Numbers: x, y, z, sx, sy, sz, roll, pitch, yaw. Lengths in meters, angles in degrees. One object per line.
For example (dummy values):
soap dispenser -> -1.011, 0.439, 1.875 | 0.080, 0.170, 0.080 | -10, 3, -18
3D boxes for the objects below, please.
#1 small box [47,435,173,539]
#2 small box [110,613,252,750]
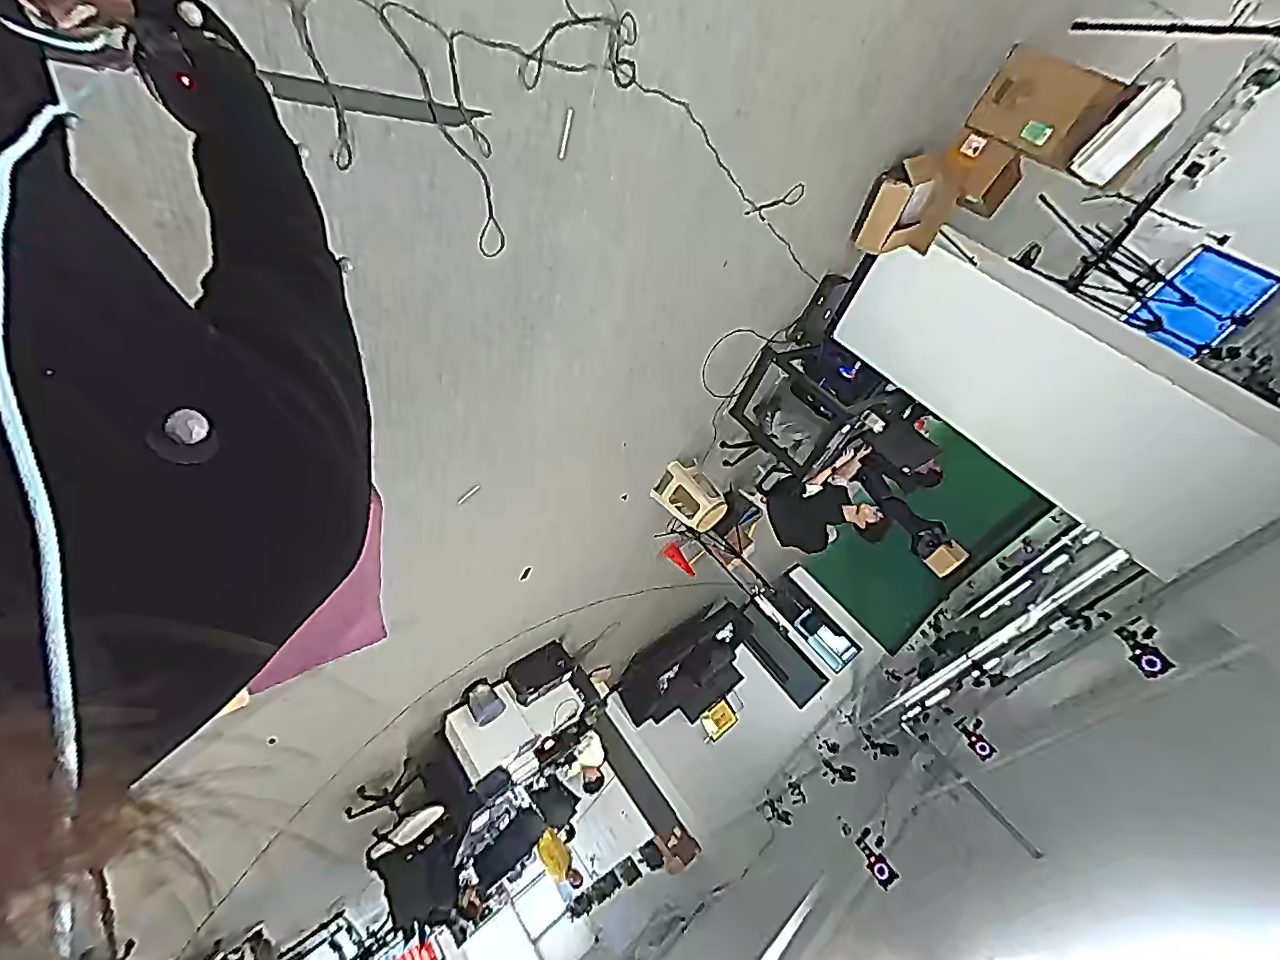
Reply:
small box -> -1.316, 0.011, 1.346 | 0.179, 0.176, 0.168 | -21, 148, -36
small box -> -0.911, 0.391, 1.079 | 0.168, 0.176, 0.179 | -21, 148, -38
